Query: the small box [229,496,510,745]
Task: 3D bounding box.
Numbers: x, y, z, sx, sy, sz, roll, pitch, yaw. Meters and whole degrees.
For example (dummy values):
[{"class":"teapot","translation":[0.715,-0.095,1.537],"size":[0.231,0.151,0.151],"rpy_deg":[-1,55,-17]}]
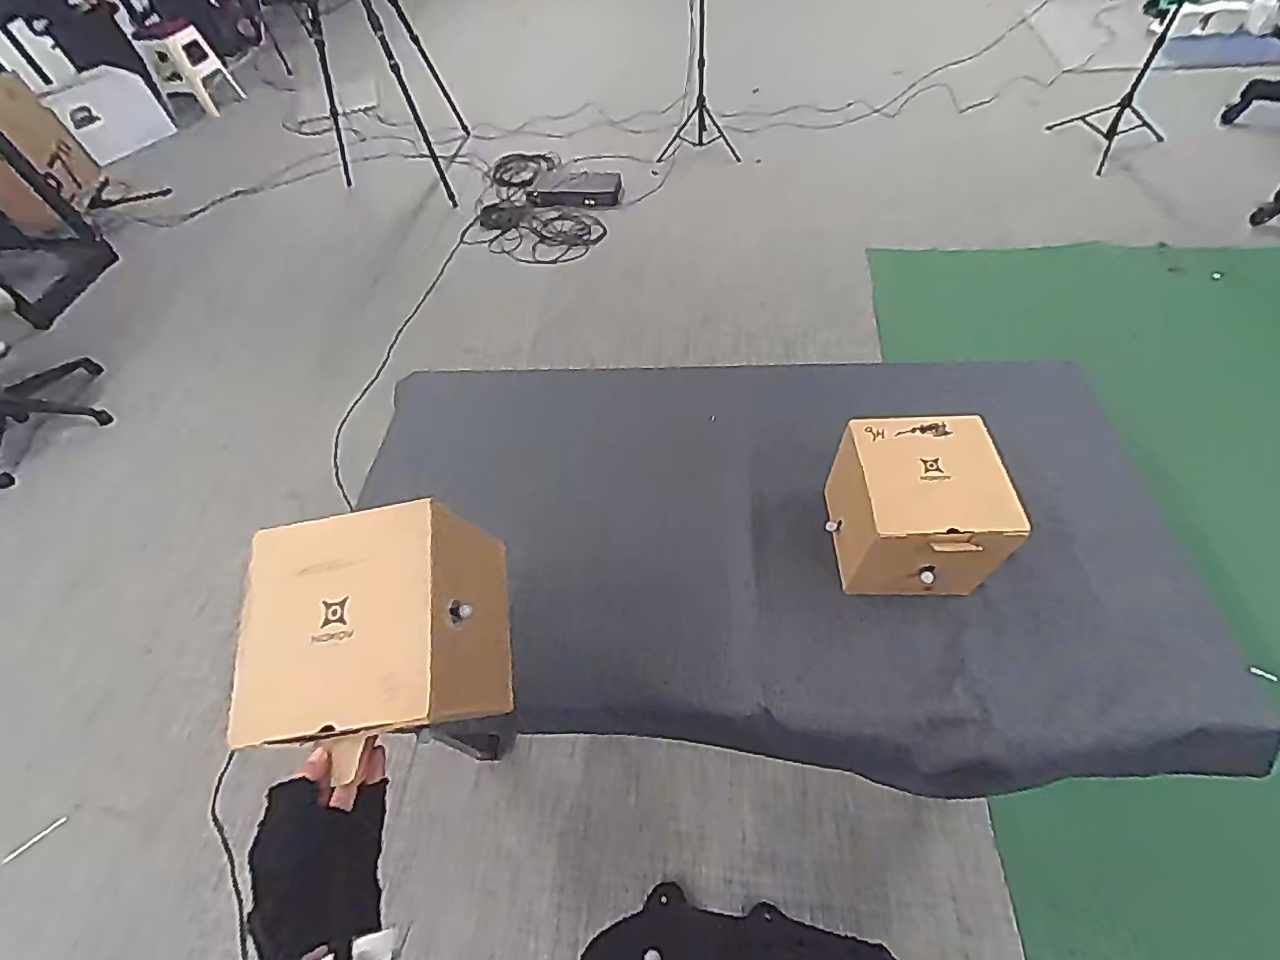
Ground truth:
[{"class":"small box","translation":[-0.227,0.133,0.501],"size":[0.168,0.176,0.179],"rpy_deg":[-10,68,4]}]
